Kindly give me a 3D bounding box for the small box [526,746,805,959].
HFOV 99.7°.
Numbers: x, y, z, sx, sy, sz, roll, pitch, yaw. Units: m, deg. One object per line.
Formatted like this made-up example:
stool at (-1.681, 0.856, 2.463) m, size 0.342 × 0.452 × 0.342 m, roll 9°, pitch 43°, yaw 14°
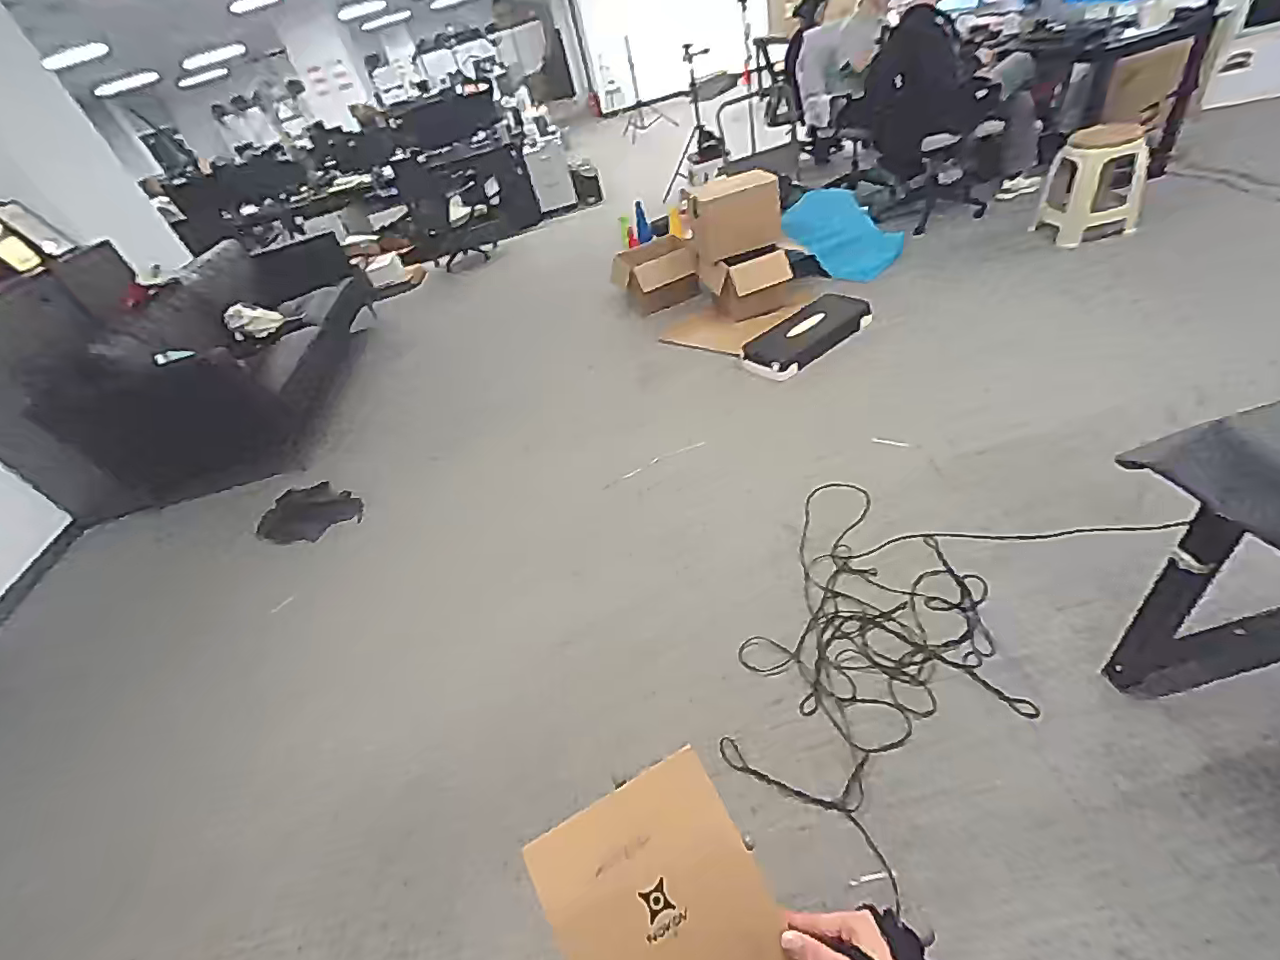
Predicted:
small box at (0.016, 0.371, 0.492) m, size 0.168 × 0.176 × 0.179 m, roll -24°, pitch 62°, yaw -15°
